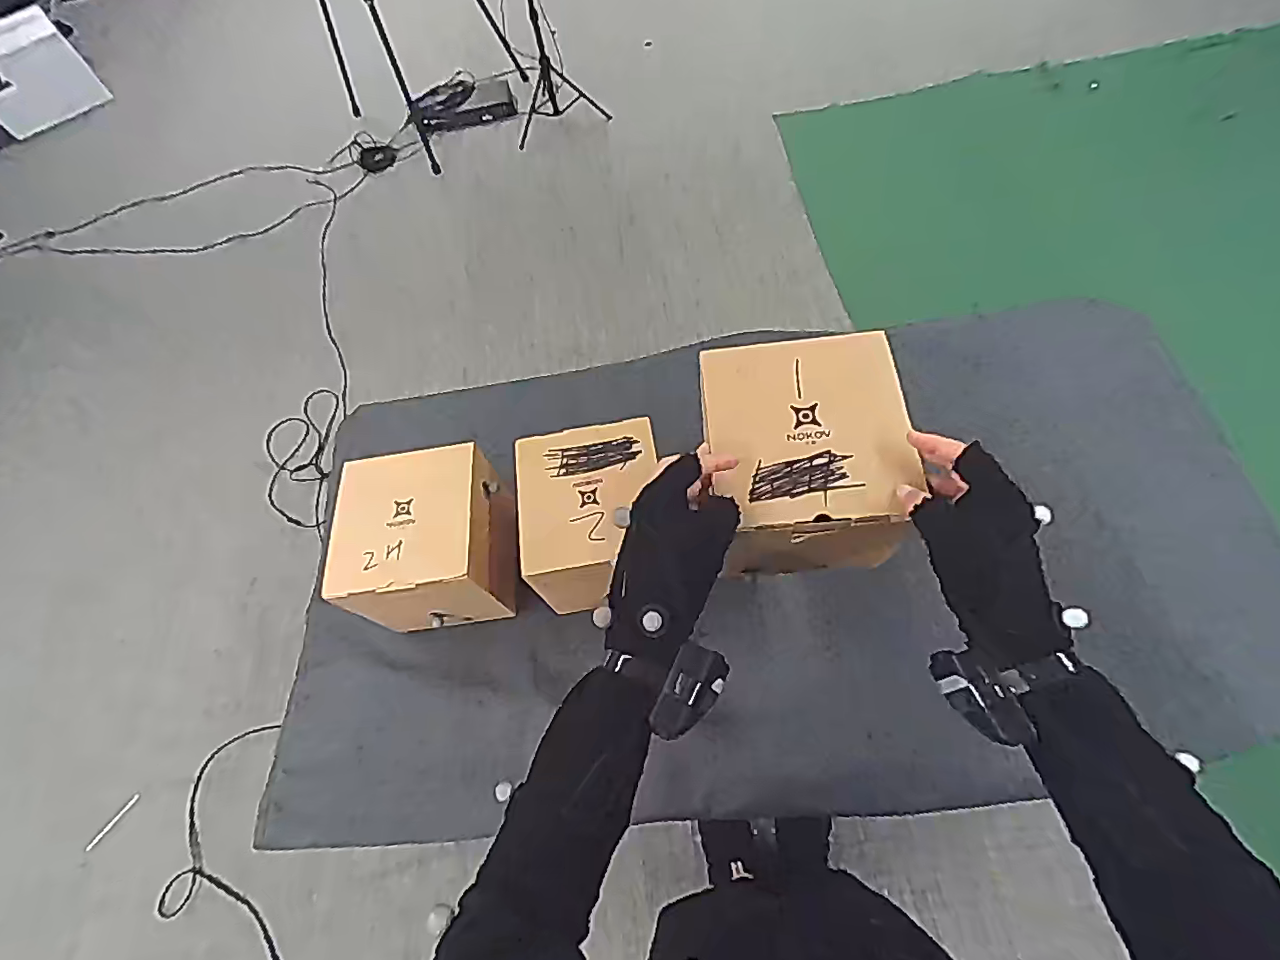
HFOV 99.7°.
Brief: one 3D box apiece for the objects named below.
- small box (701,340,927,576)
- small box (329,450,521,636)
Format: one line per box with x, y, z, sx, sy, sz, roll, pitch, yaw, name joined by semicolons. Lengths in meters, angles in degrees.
0.153;-0.008;0.532;0.168;0.176;0.179;-5;65;7;small box
-0.257;0.086;0.694;0.168;0.176;0.179;-9;61;3;small box
